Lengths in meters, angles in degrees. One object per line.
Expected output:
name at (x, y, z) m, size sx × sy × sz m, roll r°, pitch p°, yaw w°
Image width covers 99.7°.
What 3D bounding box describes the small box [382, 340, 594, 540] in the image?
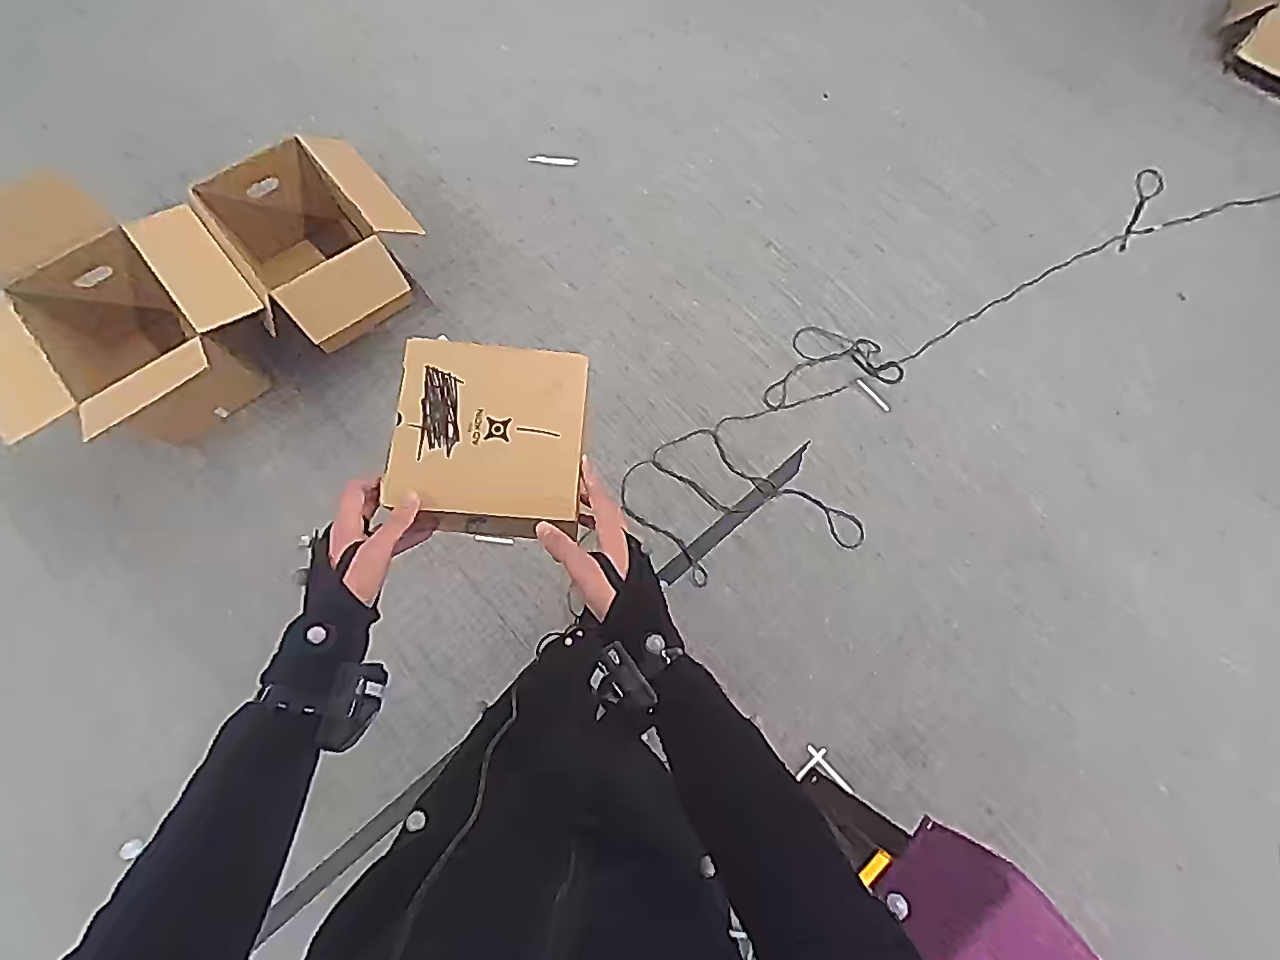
small box at (-0.144, -0.030, 0.578) m, size 0.179 × 0.176 × 0.168 m, roll 5°, pitch 77°, yaw -4°
